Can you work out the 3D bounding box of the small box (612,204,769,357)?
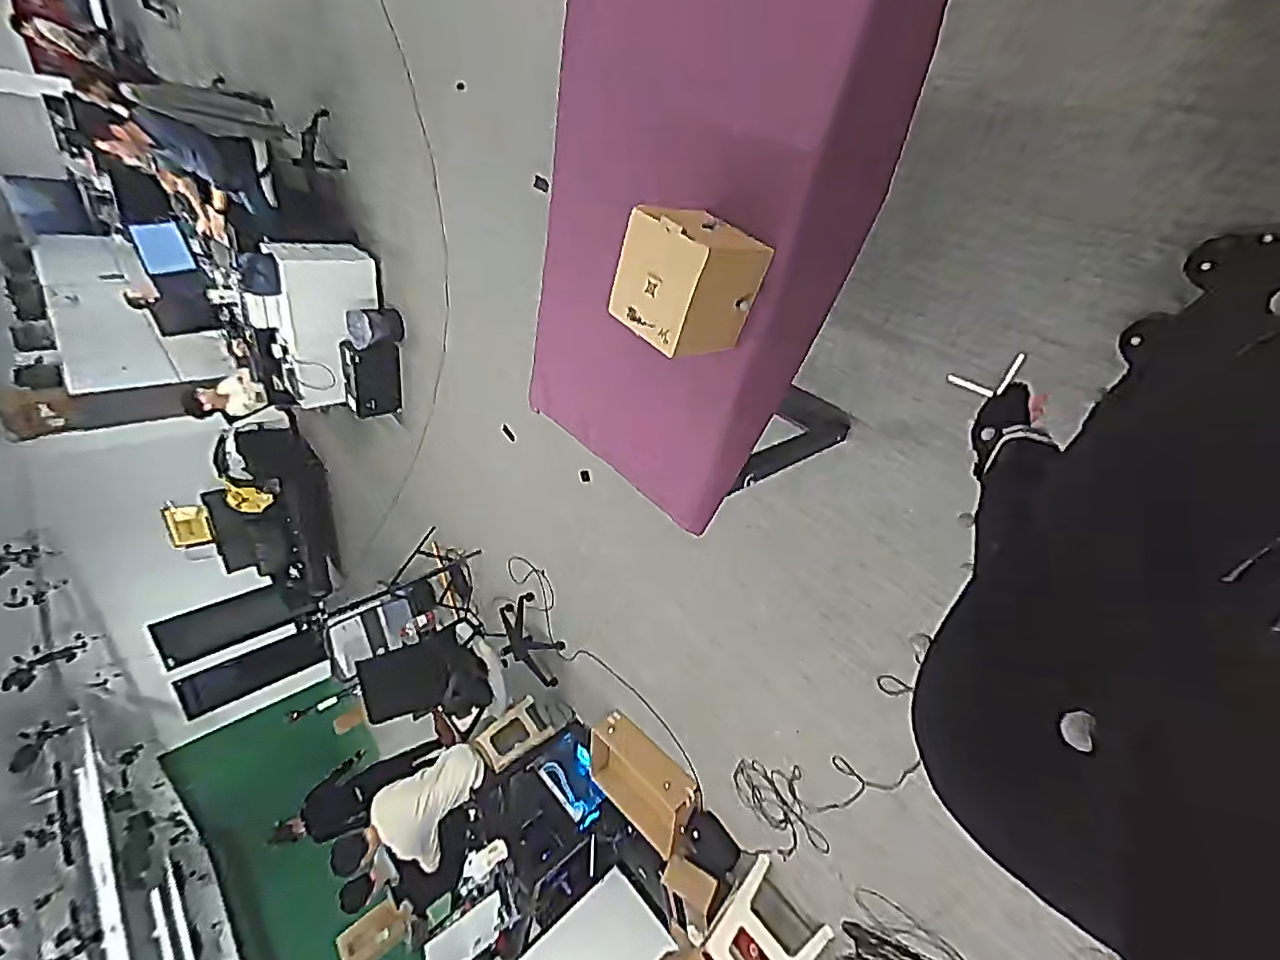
[{"bbox_3d":[0.085,-0.325,0.886,0.168,0.176,0.179,44,132,28],"label":"small box"}]
